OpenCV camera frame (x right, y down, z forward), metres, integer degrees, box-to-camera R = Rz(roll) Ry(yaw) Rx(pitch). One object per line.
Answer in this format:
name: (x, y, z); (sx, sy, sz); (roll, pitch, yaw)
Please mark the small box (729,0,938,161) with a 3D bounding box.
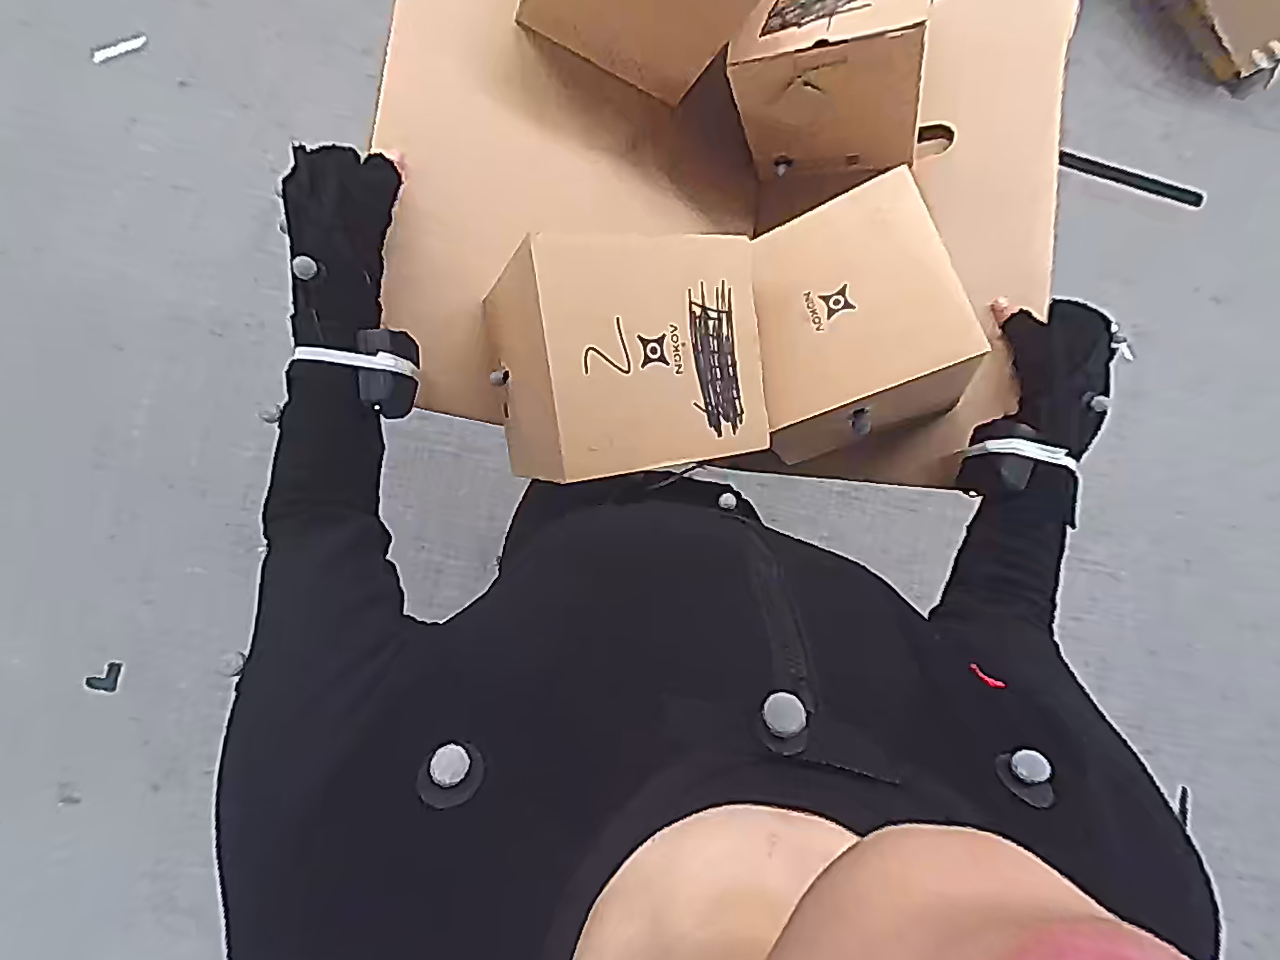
small box: (0.200, -0.449, 0.539); (0.168, 0.176, 0.179); (8, 85, 24)
